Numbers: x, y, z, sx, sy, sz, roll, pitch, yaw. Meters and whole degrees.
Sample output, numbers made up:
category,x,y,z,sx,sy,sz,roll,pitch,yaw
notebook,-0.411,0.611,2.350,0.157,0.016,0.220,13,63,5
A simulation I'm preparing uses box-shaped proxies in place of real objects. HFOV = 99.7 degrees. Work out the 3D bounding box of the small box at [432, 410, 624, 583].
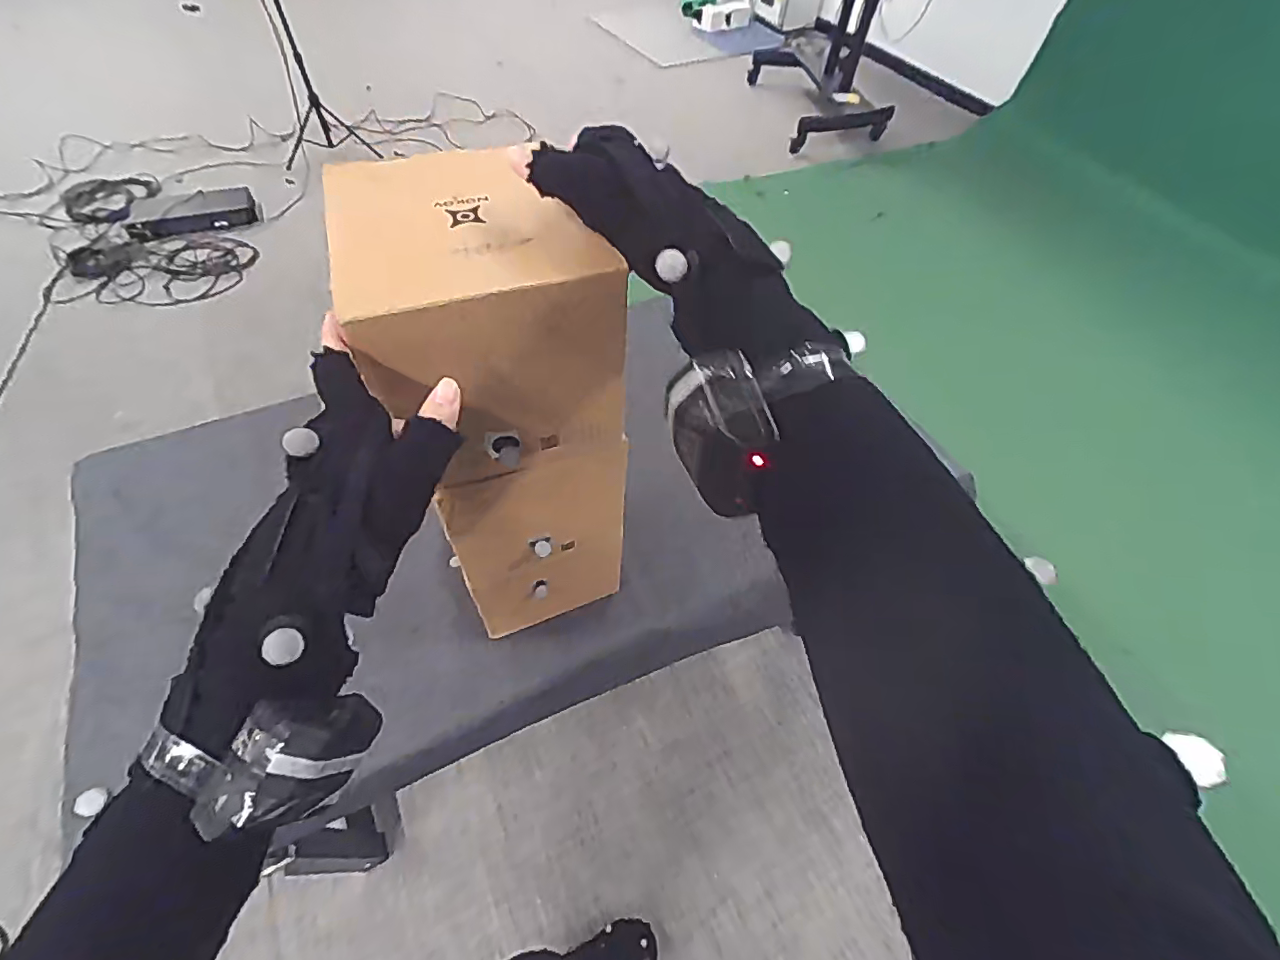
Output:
category,x,y,z,sx,sy,sz,roll,pitch,yaw
small box,-0.127,-0.029,0.541,0.168,0.176,0.179,-21,57,-17

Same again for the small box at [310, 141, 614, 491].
category,x,y,z,sx,sy,sz,roll,pitch,yaw
small box,-0.123,-0.120,0.407,0.168,0.176,0.179,-16,57,-13

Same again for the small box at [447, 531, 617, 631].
category,x,y,z,sx,sy,sz,roll,pitch,yaw
small box,-0.136,0.064,0.676,0.179,0.176,0.168,-19,58,-15
